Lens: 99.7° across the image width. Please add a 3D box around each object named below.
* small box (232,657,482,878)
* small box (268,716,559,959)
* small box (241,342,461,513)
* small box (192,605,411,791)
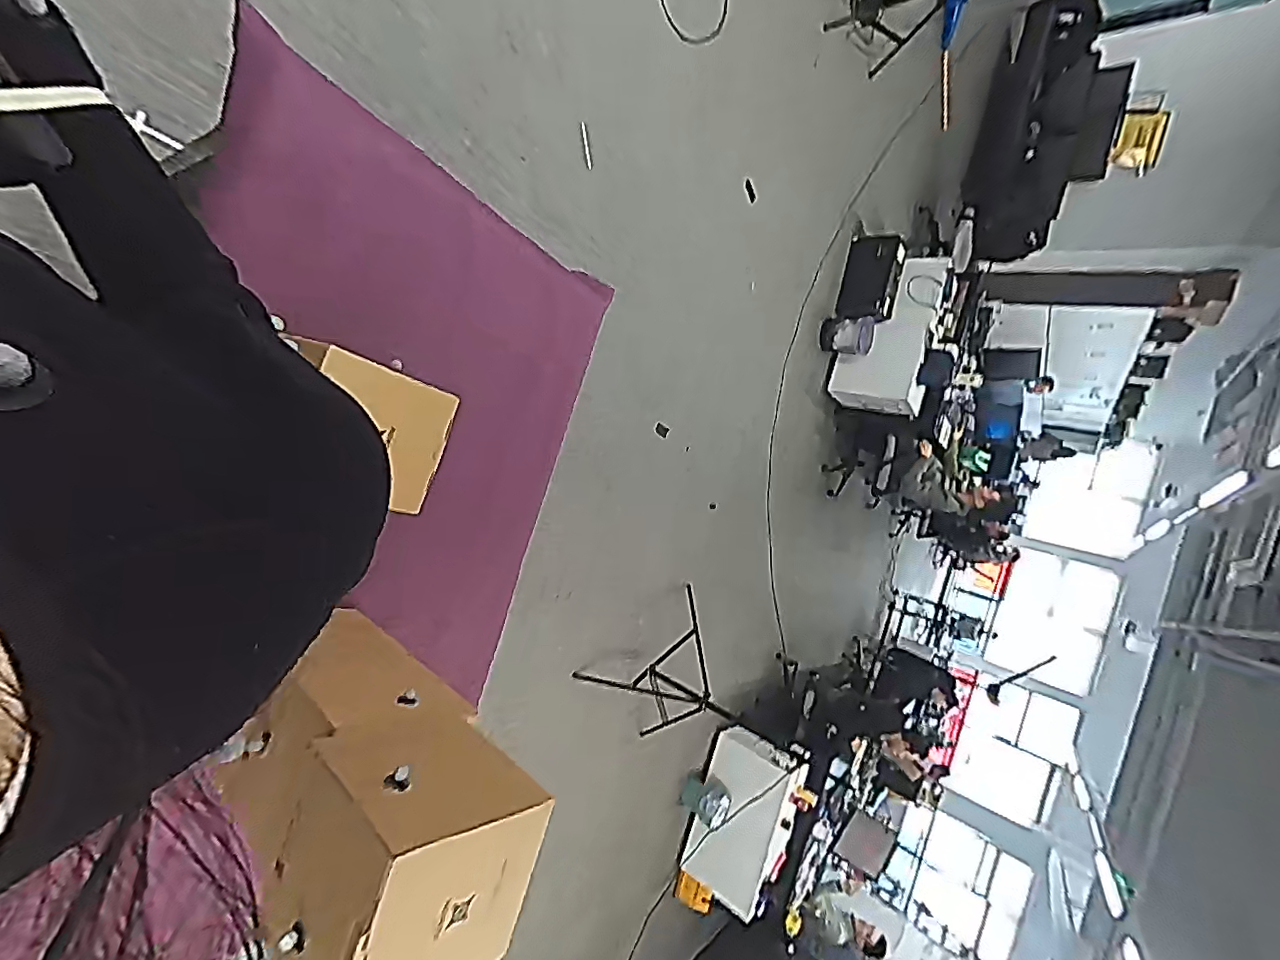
[{"bbox_3d":[-0.326,0.317,0.630,0.179,0.176,0.168,25,83,-52],"label":"small box"},{"bbox_3d":[-0.214,0.350,0.515,0.179,0.176,0.168,19,88,-54],"label":"small box"},{"bbox_3d":[-0.374,-0.069,0.701,0.179,0.176,0.168,22,85,-54],"label":"small box"},{"bbox_3d":[-0.454,0.277,0.725,0.179,0.176,0.168,25,83,-53],"label":"small box"}]
